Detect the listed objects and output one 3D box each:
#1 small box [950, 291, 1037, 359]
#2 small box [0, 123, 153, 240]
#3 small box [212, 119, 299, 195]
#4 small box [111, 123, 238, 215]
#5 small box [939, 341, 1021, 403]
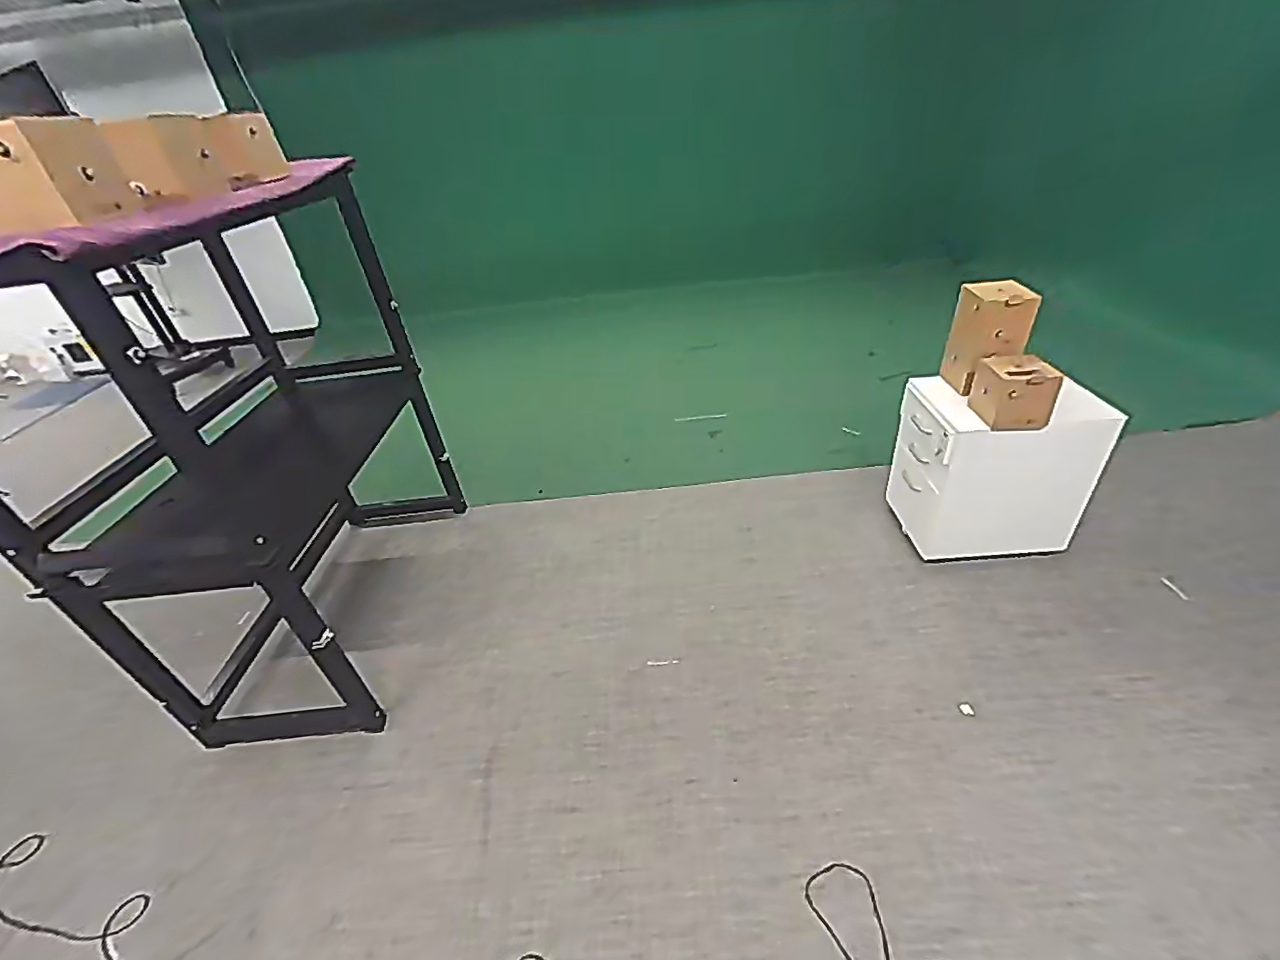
[{"bbox_3d":[1.171,-0.517,1.809,0.168,0.176,0.179,-3,37,4],"label":"small box"},{"bbox_3d":[-1.082,-0.557,1.007,0.179,0.176,0.168,-6,33,1],"label":"small box"},{"bbox_3d":[-1.134,-0.928,1.562,0.168,0.176,0.179,-7,34,4],"label":"small box"},{"bbox_3d":[-1.100,-0.733,1.275,0.168,0.176,0.179,-7,35,1],"label":"small box"},{"bbox_3d":[1.184,-0.384,1.902,0.168,0.176,0.179,-5,35,3],"label":"small box"}]
